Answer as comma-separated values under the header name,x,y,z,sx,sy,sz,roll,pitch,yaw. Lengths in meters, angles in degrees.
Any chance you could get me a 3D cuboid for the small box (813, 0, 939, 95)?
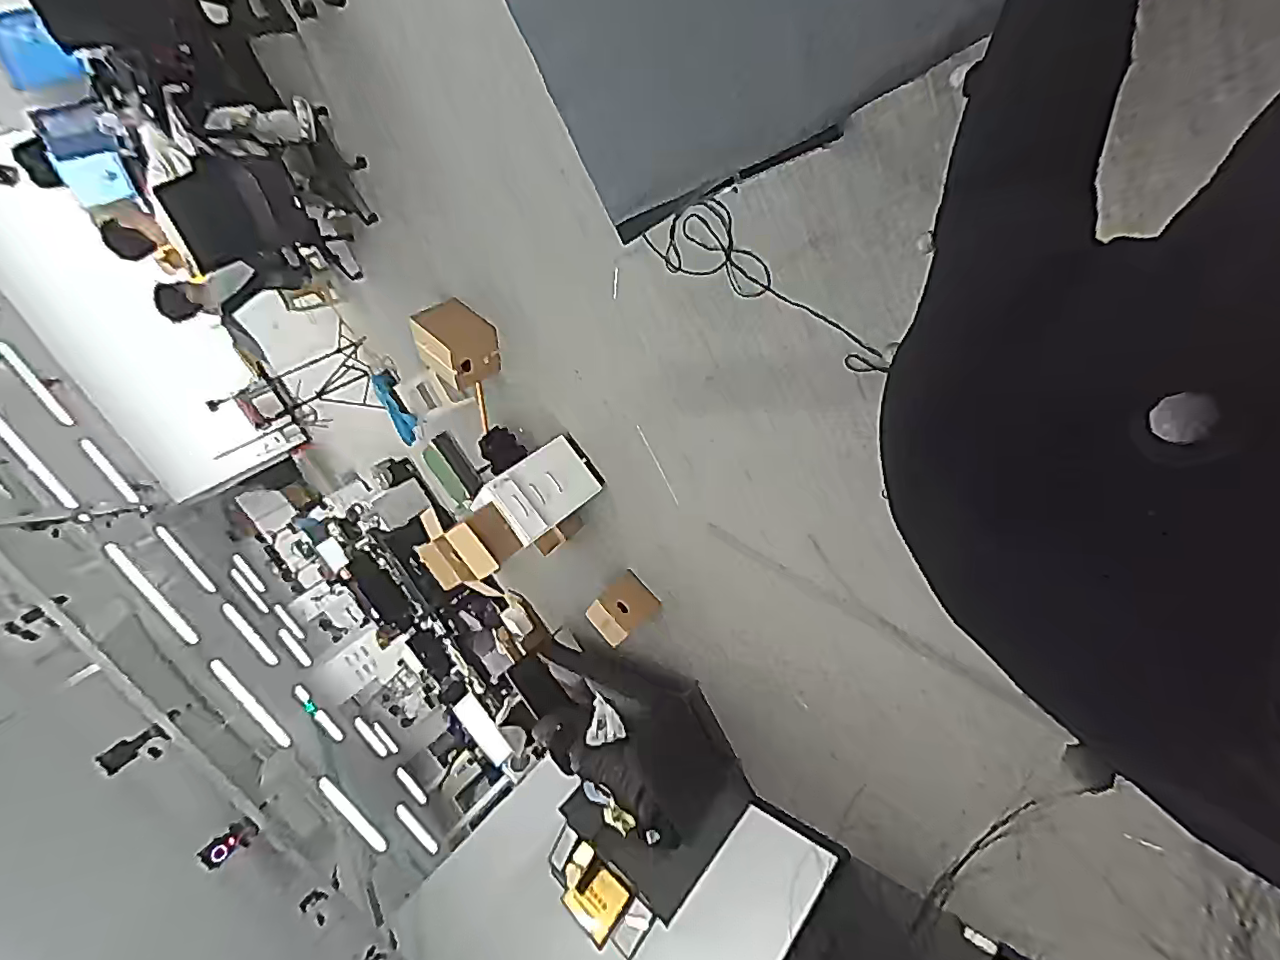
name,x,y,z,sx,sy,sz,roll,pitch,yaw
small box,0.487,-0.921,1.115,0.168,0.176,0.179,32,144,31
